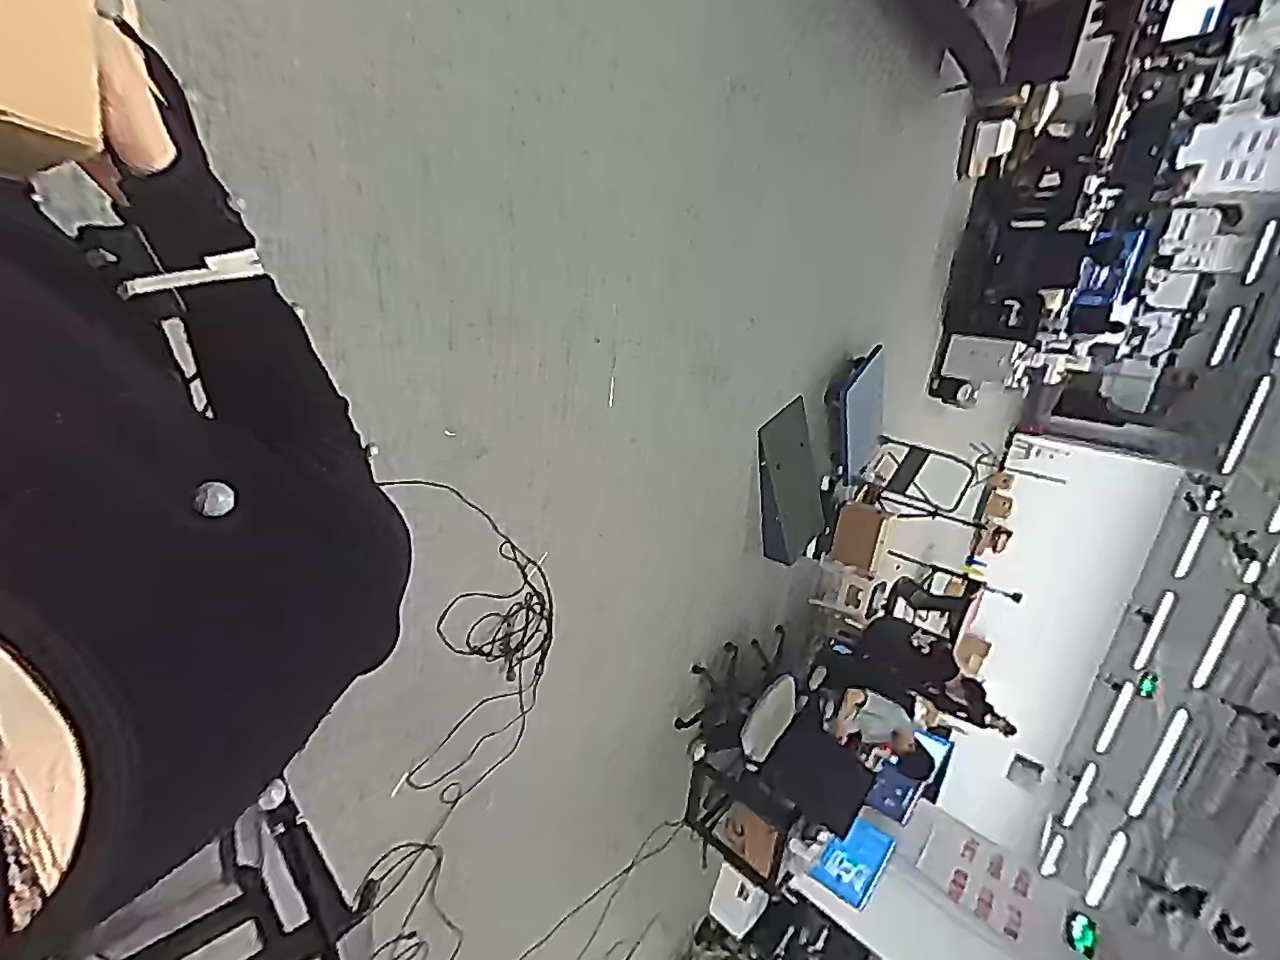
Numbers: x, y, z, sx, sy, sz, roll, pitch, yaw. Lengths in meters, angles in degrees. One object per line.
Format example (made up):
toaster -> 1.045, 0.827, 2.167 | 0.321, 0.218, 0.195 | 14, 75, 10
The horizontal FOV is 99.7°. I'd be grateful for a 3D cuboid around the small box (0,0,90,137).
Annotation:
small box -> -0.350, -0.265, 0.206 | 0.168, 0.176, 0.179 | -9, 110, -56
